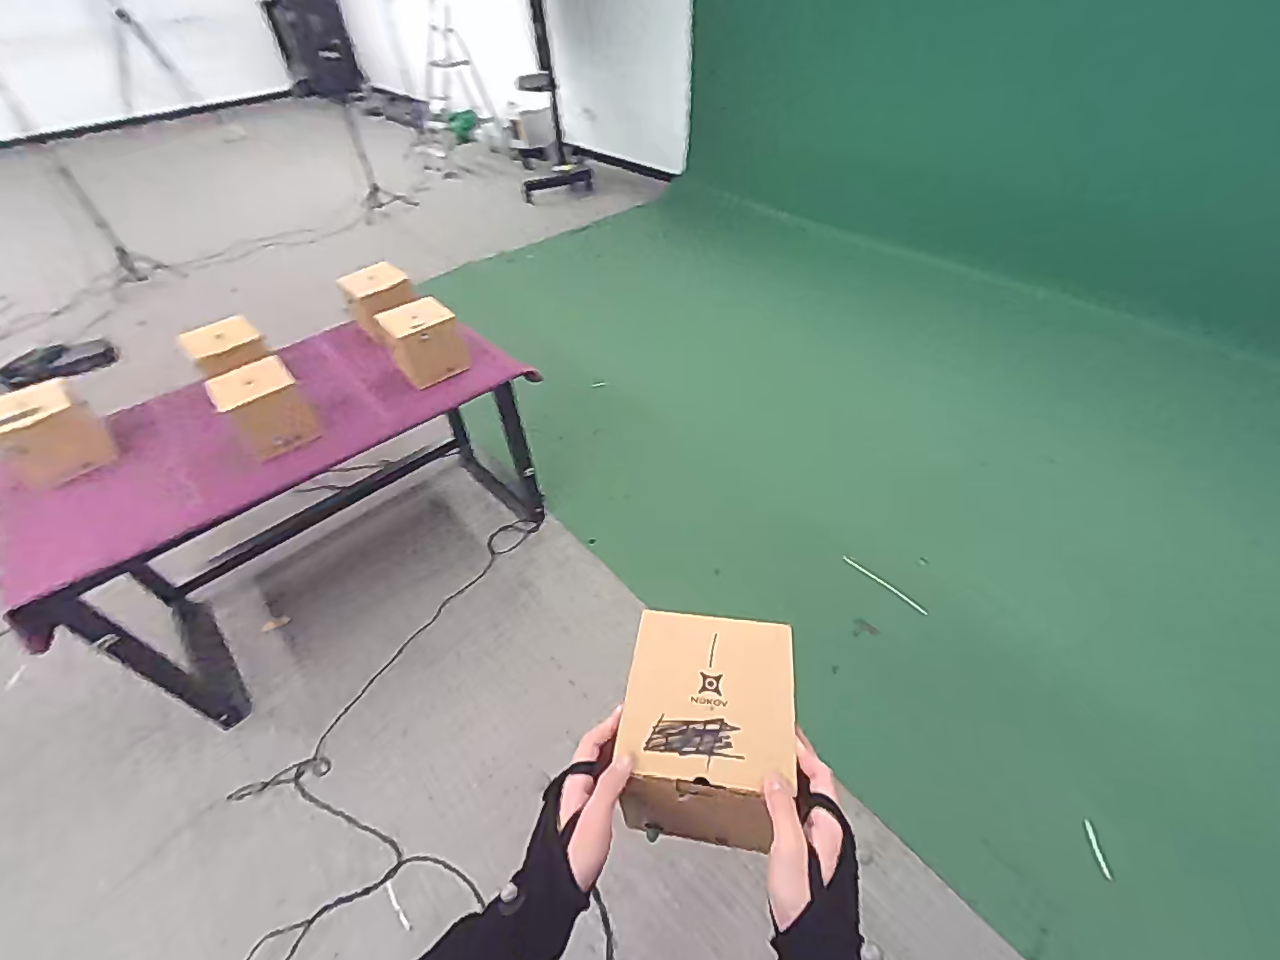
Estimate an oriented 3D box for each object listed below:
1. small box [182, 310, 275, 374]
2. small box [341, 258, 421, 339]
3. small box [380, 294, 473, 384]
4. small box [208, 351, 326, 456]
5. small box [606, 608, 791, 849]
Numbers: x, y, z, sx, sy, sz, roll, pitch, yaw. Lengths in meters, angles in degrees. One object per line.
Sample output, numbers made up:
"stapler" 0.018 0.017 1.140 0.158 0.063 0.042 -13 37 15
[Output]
"small box" -1.126 -0.345 1.514 0.168 0.176 0.179 -35 55 -28
"small box" -0.806 -0.574 1.716 0.168 0.176 0.179 -36 55 -25
"small box" -0.605 -0.401 1.541 0.168 0.176 0.179 -32 50 -24
"small box" -0.928 -0.190 1.353 0.168 0.176 0.179 -33 52 -26
"small box" 0.069 0.265 0.580 0.168 0.176 0.179 4 42 10
